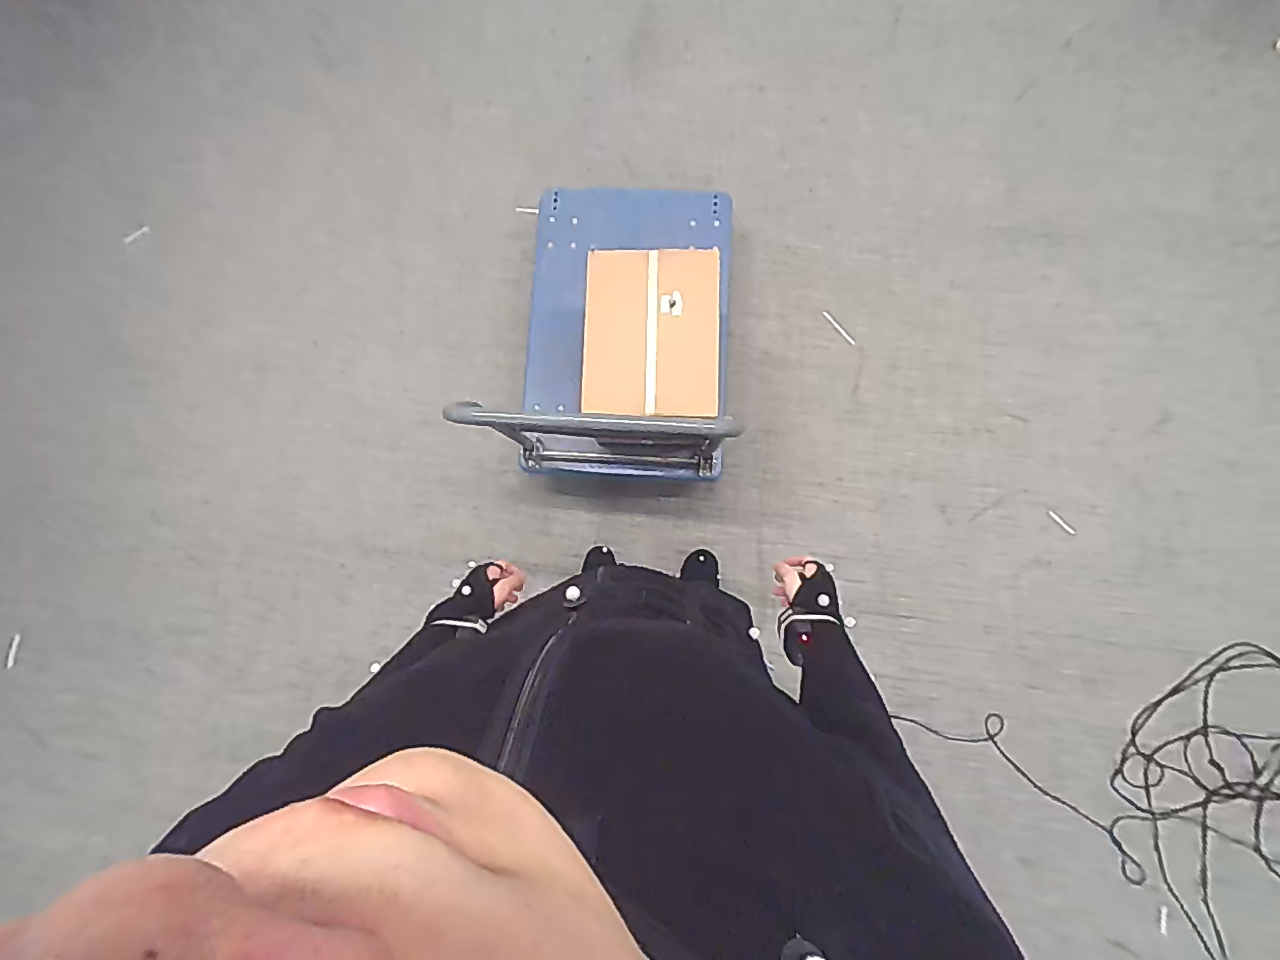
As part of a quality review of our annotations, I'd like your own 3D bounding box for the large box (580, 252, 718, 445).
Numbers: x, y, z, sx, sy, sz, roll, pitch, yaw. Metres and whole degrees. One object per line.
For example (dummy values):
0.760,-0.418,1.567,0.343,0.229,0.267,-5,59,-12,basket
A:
0.028,-0.314,1.386,0.320,0.320,0.408,1,82,2,large box
